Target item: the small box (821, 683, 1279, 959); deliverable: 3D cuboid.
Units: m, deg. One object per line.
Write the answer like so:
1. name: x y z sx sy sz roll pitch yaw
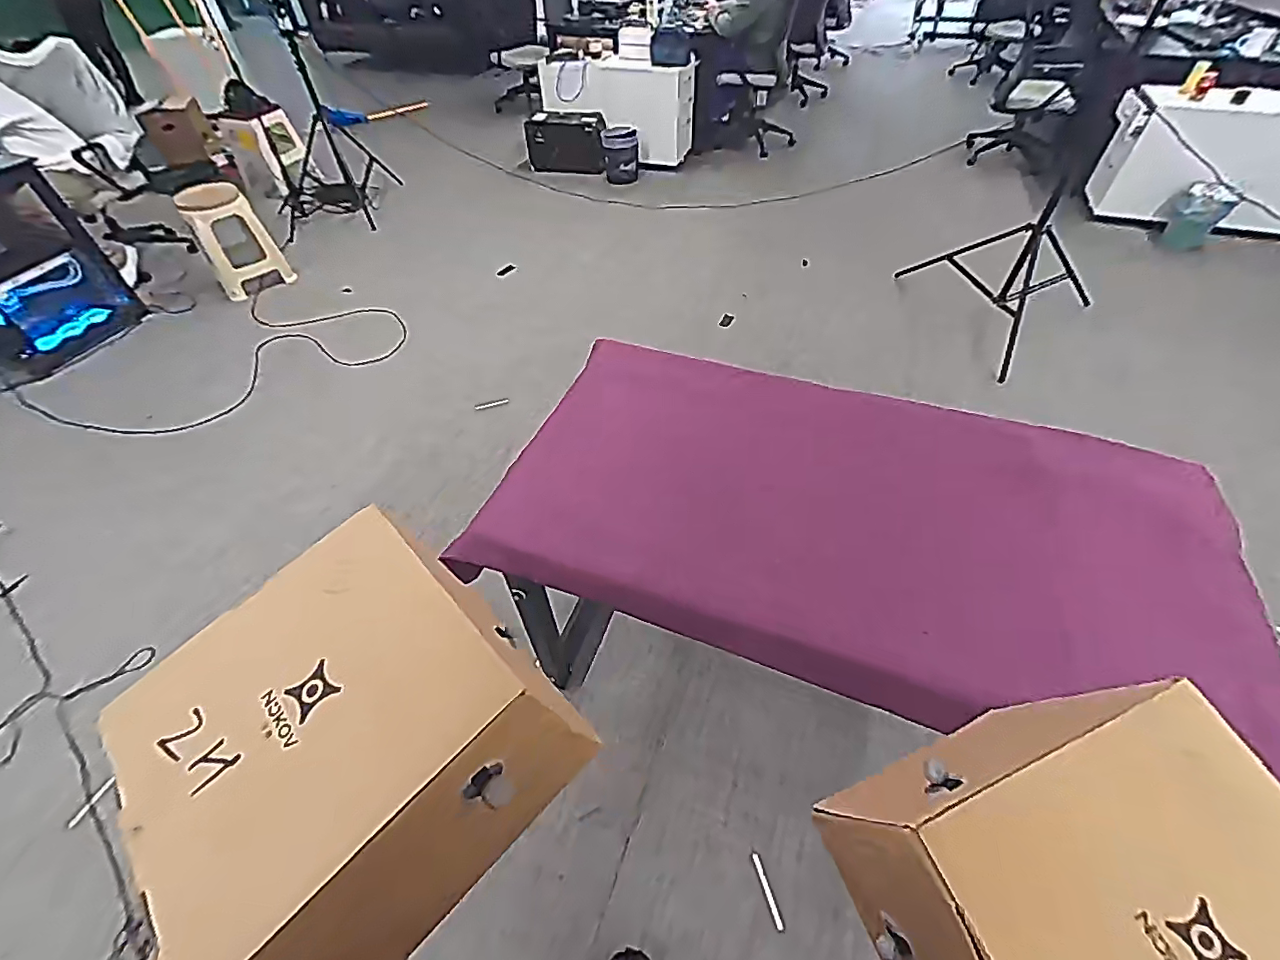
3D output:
1. small box: 0.236 0.236 0.307 0.179 0.176 0.168 -21 64 -11

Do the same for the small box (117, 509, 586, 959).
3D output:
1. small box: -0.152 0.158 0.342 0.179 0.176 0.168 -43 58 -17
